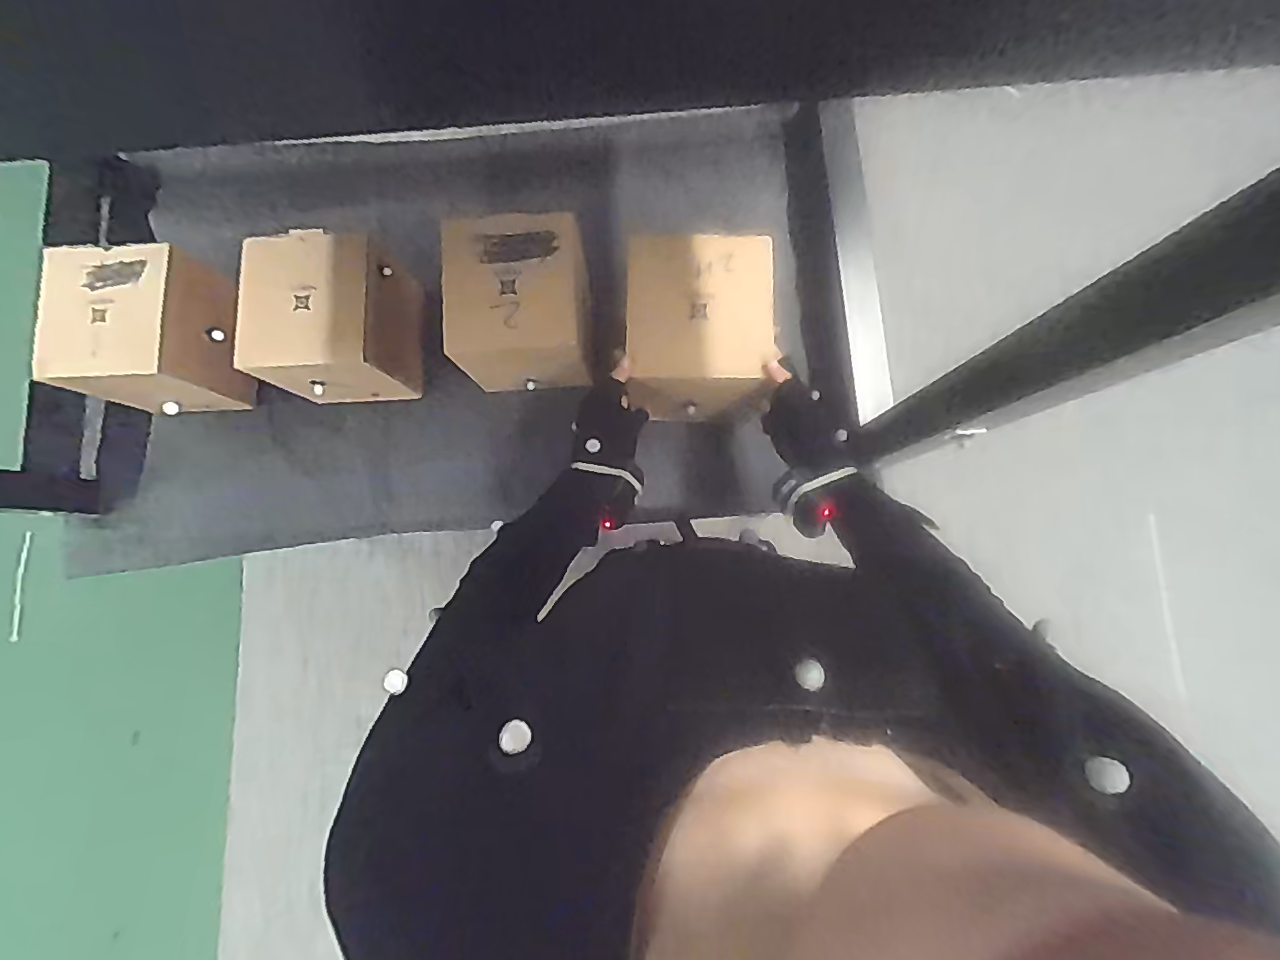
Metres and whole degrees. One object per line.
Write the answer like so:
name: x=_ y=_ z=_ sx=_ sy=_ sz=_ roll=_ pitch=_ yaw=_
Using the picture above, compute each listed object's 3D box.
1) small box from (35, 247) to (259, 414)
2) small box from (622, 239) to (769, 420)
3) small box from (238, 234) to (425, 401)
small box: x=-0.668 y=-0.200 z=0.759 sx=0.168 sy=0.176 sz=0.179 roll=-2 pitch=82 yaw=2
small box: x=0.069 y=-0.181 z=0.691 sx=0.168 sy=0.176 sz=0.179 roll=1 pitch=80 yaw=3
small box: x=-0.415 y=-0.212 z=0.754 sx=0.168 sy=0.176 sz=0.179 roll=-2 pitch=82 yaw=2
